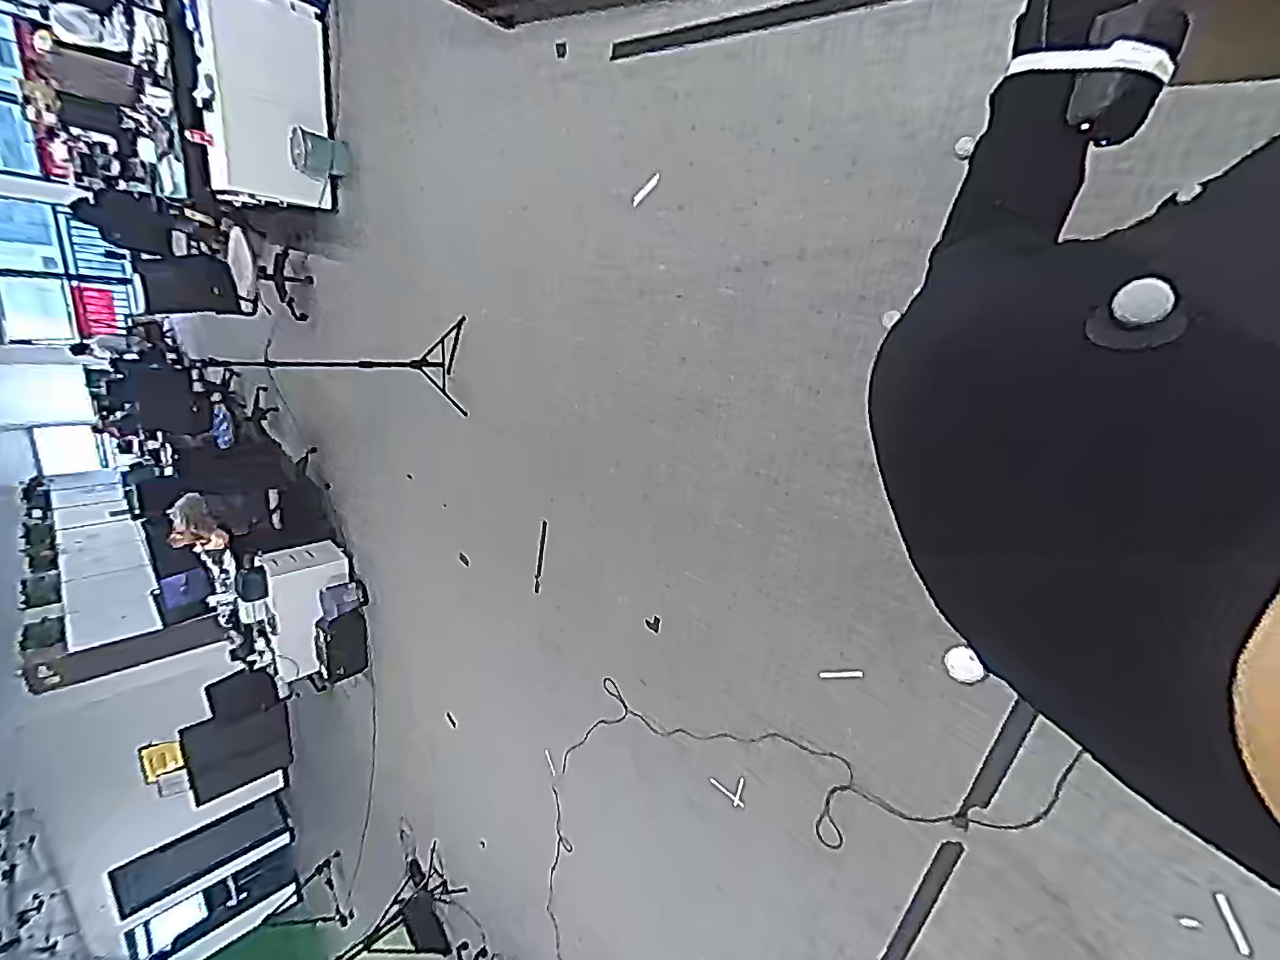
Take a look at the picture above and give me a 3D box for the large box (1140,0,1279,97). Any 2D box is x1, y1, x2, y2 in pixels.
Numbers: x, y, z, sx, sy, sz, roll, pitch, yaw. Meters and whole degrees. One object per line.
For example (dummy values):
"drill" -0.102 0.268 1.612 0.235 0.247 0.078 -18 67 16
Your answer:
"large box" 0.565 -0.423 0.268 0.408 0.320 0.320 22 122 35
